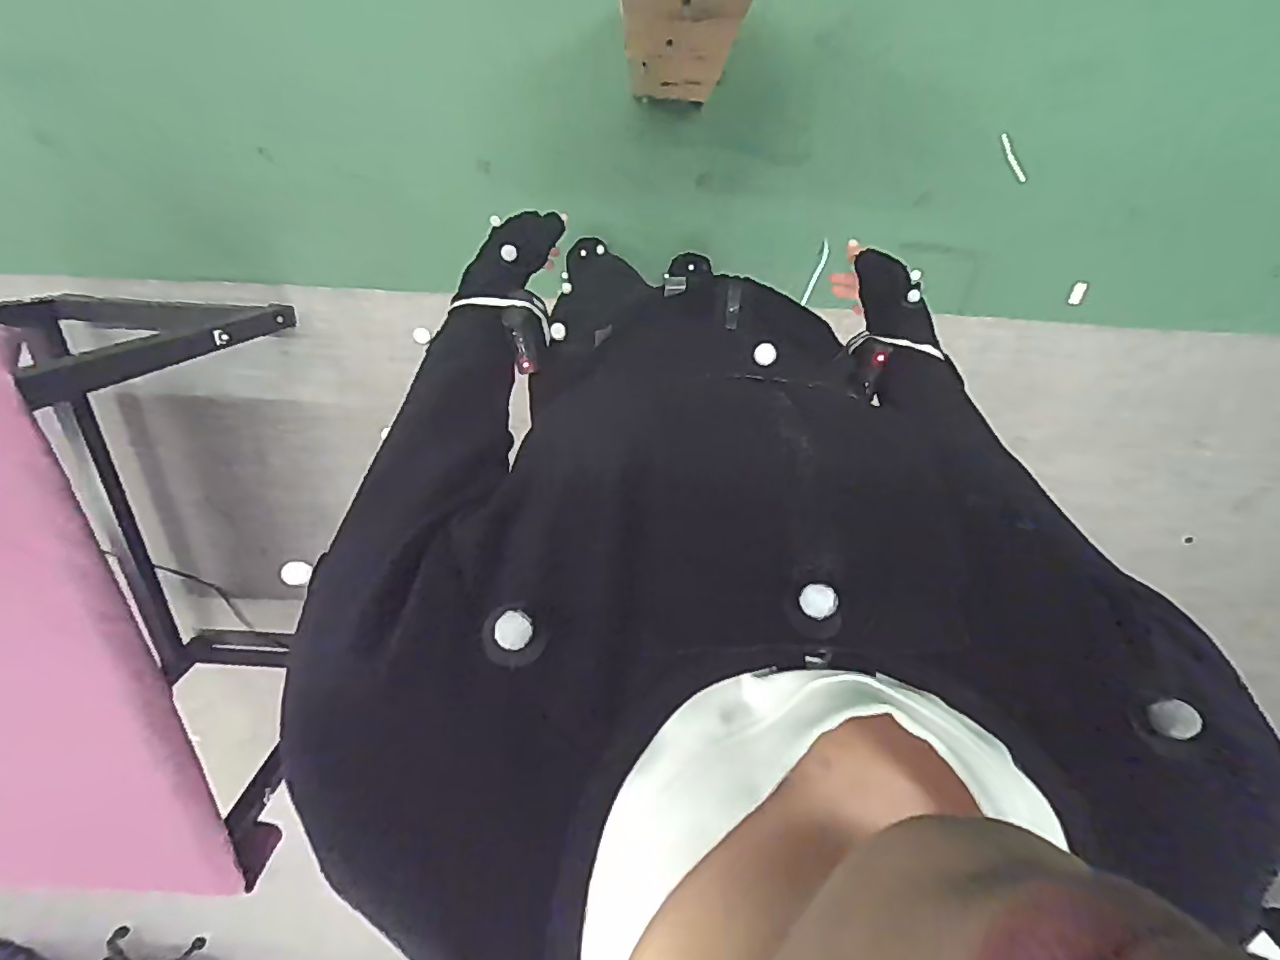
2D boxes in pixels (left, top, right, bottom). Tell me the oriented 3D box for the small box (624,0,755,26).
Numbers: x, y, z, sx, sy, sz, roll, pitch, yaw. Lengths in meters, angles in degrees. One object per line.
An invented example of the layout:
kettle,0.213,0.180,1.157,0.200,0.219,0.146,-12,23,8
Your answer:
small box,0.059,-0.655,0.614,0.168,0.176,0.179,0,115,1

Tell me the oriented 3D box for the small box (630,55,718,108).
small box,0.071,-0.853,1.063,0.168,0.176,0.179,4,114,-1

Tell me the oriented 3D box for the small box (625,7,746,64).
small box,0.061,-0.721,0.763,0.168,0.176,0.179,1,115,0
